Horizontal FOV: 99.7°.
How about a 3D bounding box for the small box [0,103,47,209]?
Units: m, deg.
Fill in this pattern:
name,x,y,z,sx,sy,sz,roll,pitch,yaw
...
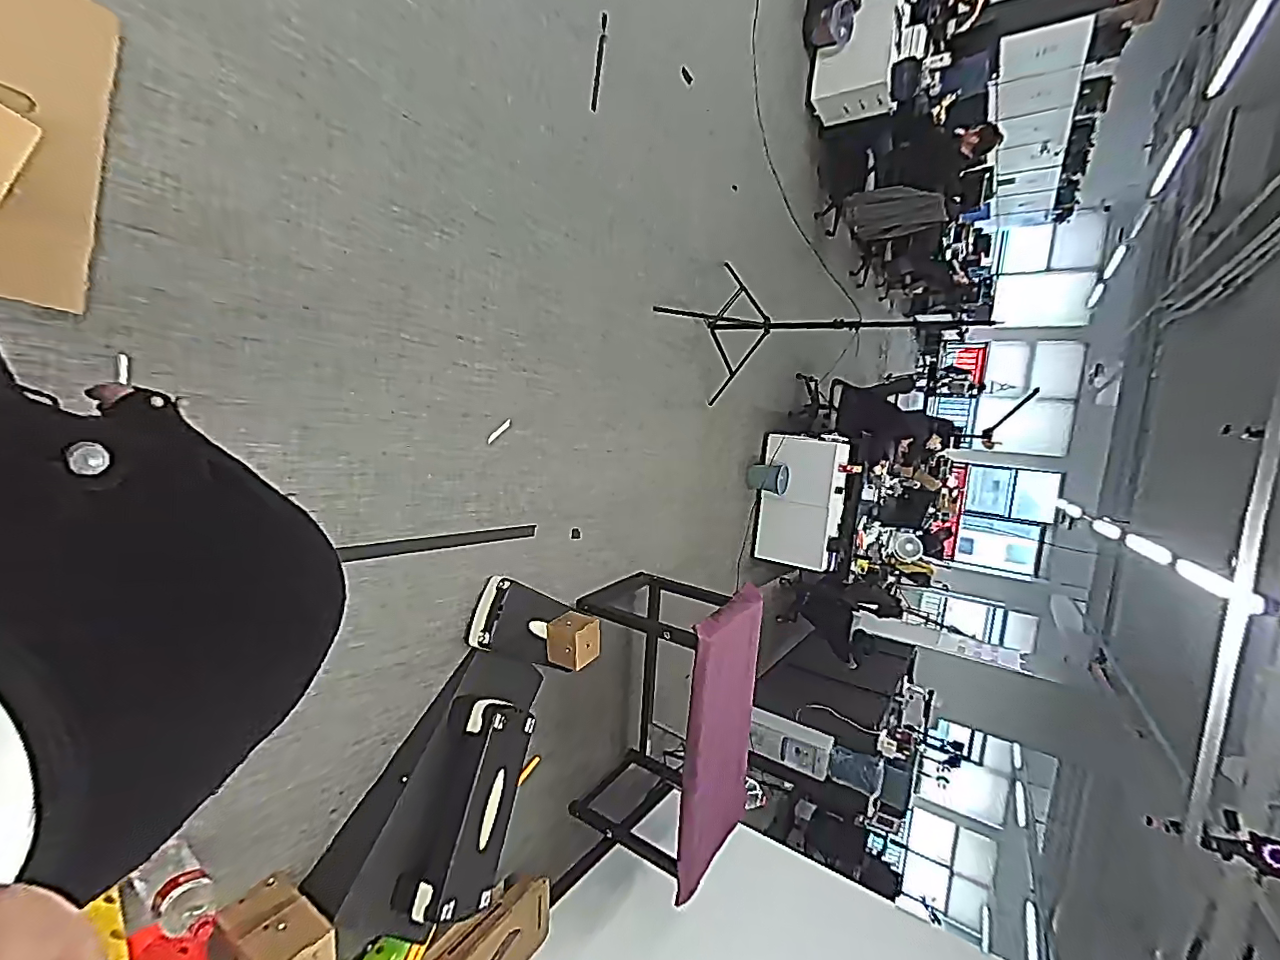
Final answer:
name,x,y,z,sx,sy,sz,roll,pitch,yaw
small box,-1.166,-0.573,0.906,0.179,0.176,0.168,31,74,-52
